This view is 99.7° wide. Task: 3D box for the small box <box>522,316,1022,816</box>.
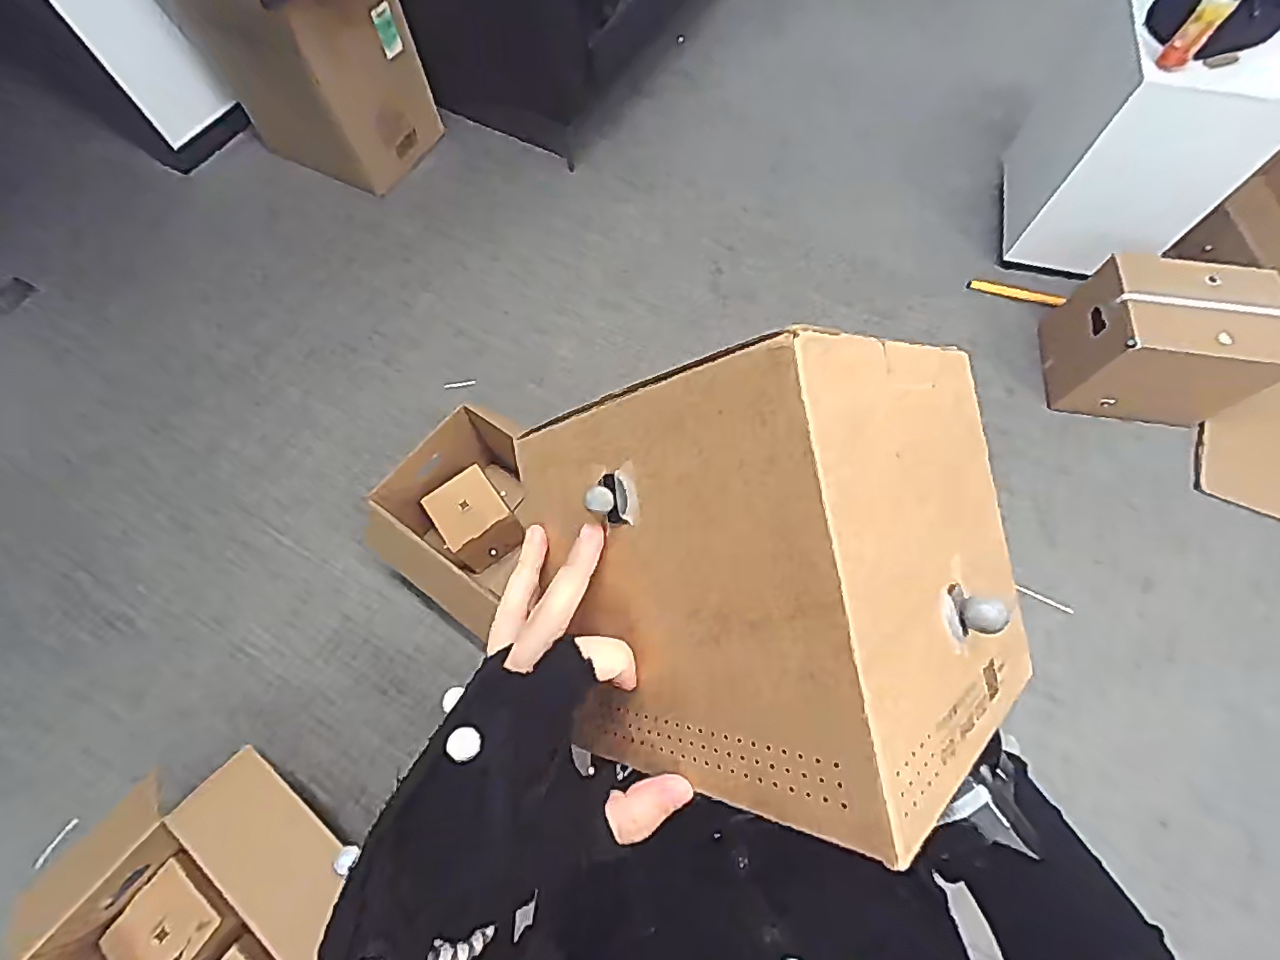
[{"bbox_3d":[0.063,0.034,0.279,0.168,0.179,0.176,-10,89,-42],"label":"small box"}]
